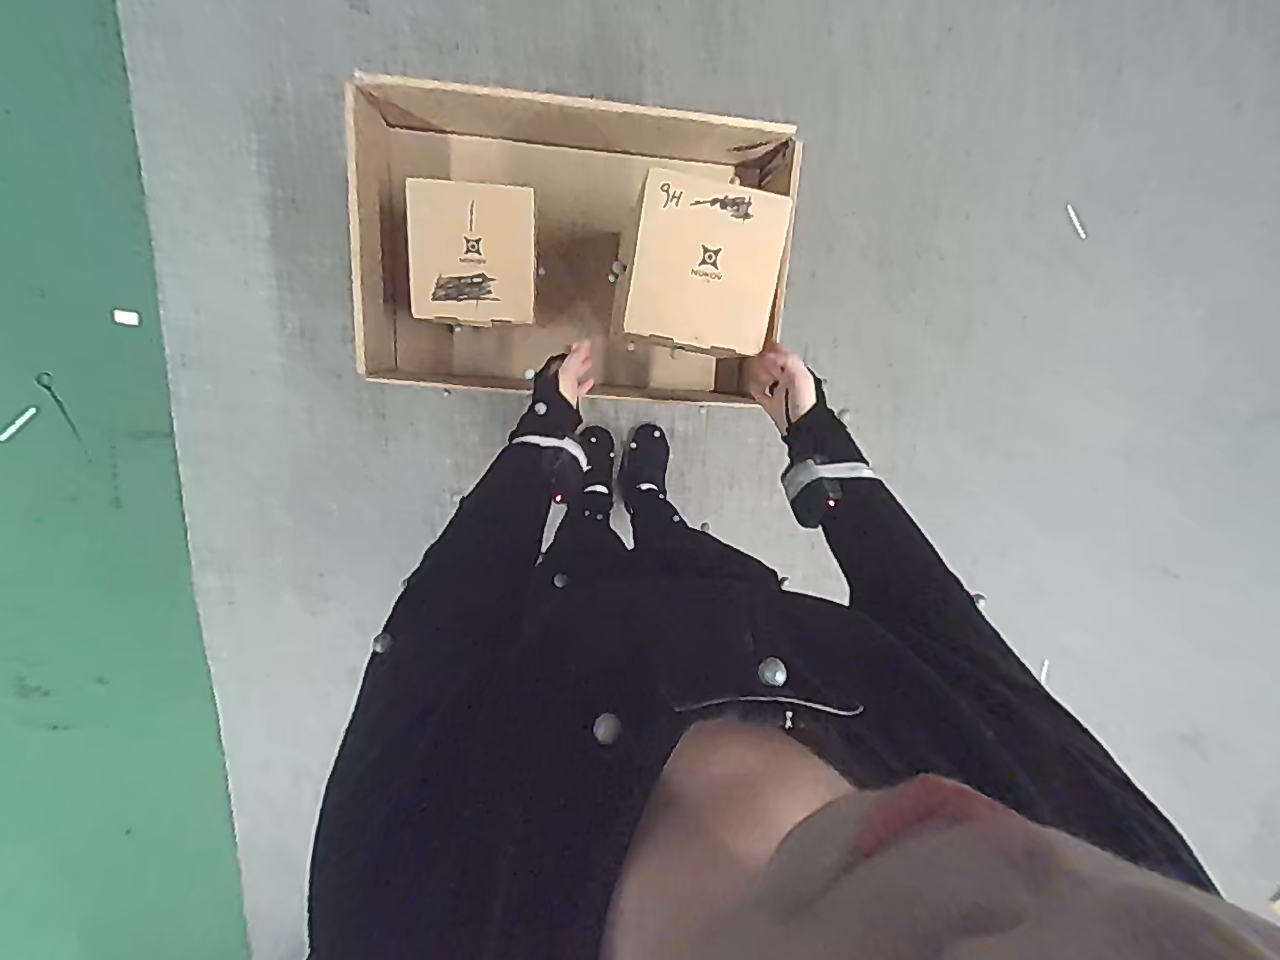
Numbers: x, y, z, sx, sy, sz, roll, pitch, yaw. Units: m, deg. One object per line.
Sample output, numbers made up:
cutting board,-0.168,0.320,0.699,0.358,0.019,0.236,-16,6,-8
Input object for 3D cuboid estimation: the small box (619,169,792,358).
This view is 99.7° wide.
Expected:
small box,0.068,-0.256,0.682,0.168,0.176,0.179,9,102,-7
